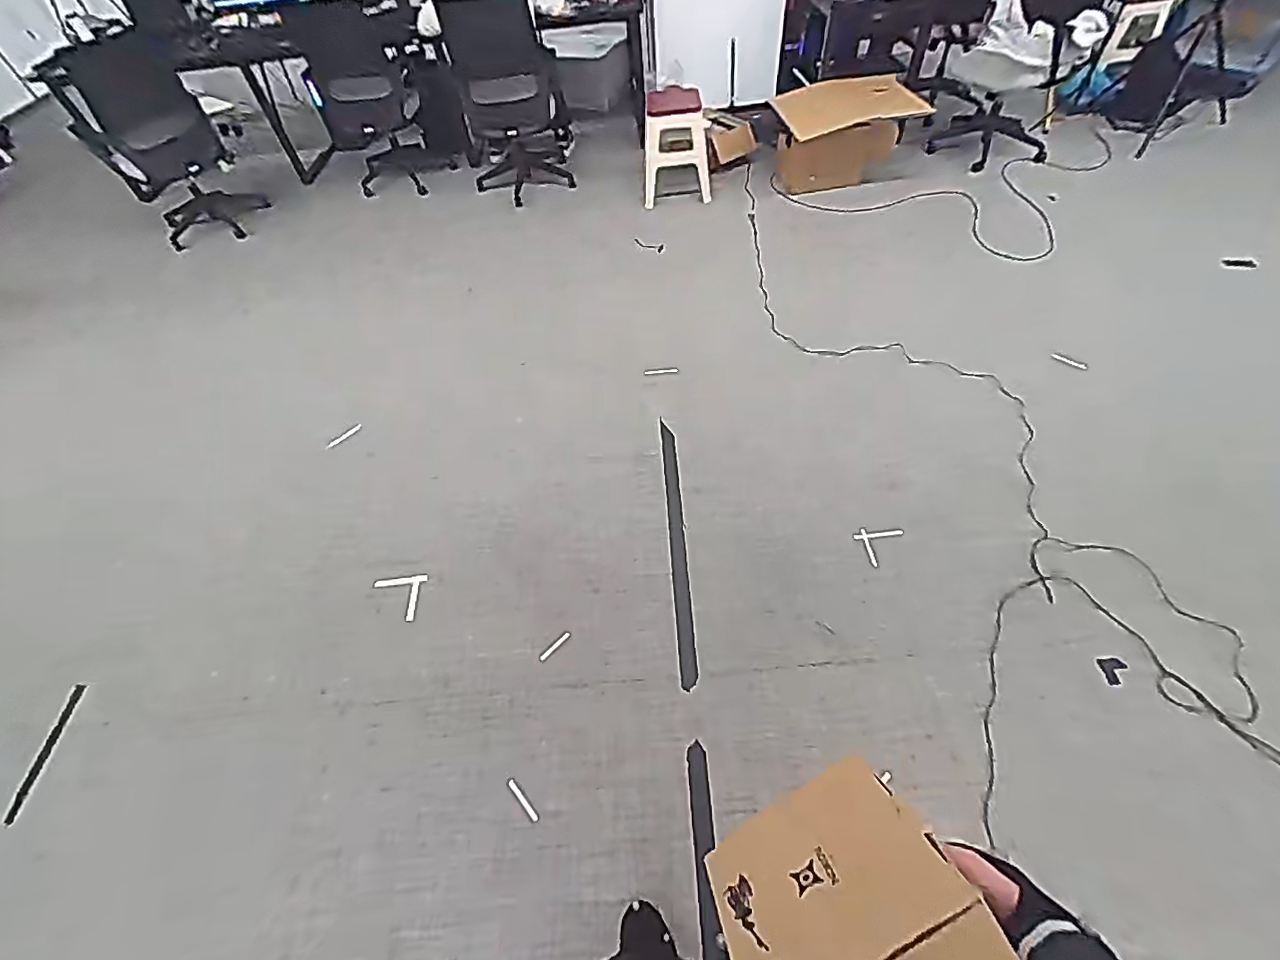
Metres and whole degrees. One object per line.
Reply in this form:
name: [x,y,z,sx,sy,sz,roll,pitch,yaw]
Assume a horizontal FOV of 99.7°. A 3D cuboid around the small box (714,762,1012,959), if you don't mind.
small box: [0.190,0.388,0.444,0.179,0.168,0.176,-32,94,-2]
